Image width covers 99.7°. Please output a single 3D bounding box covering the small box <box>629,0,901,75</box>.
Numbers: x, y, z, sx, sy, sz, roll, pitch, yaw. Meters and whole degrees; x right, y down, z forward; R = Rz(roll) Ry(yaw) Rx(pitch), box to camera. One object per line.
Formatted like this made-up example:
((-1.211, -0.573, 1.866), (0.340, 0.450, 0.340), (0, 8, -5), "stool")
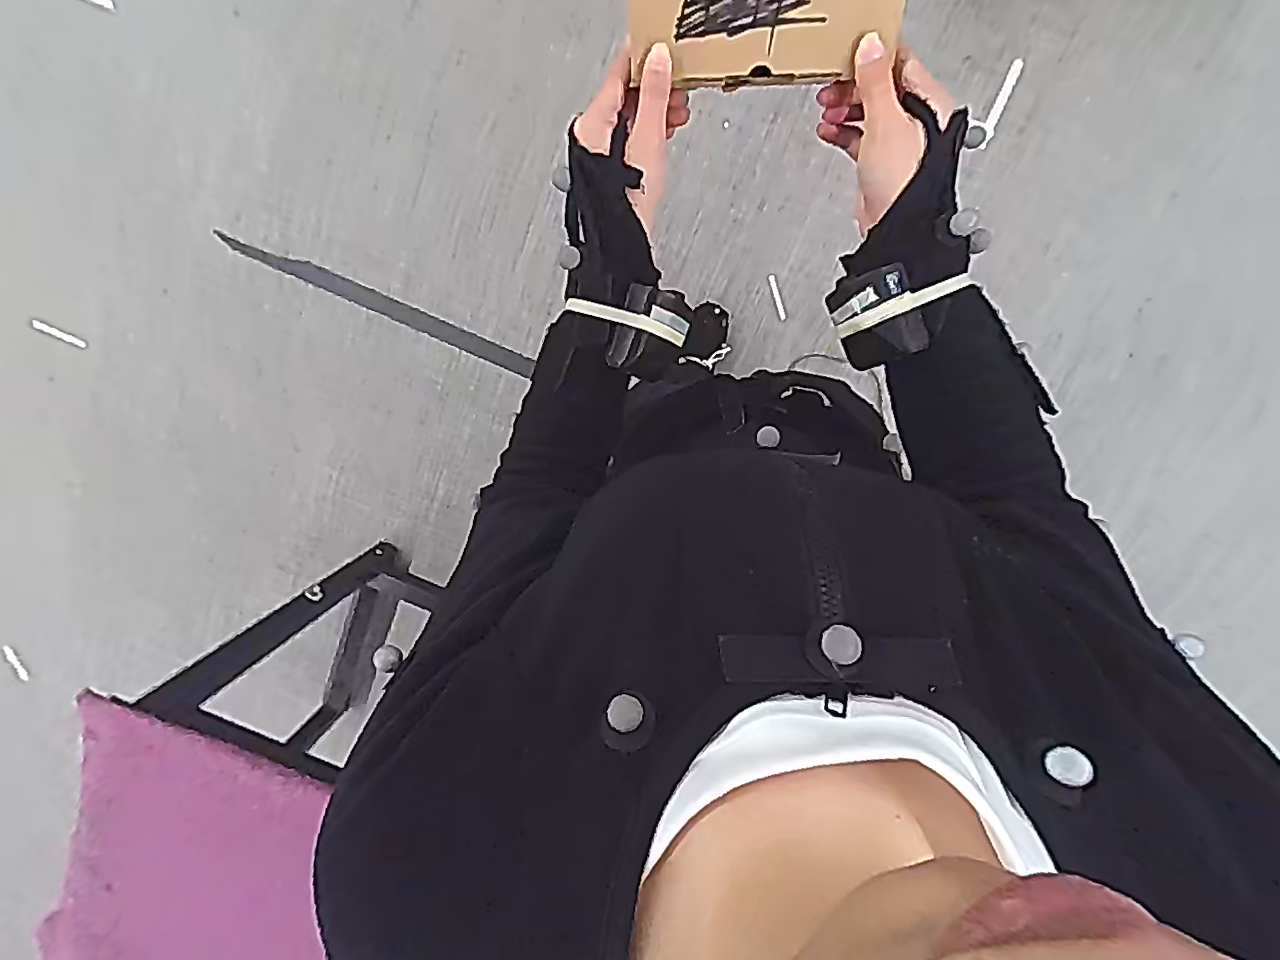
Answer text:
((0.080, -0.380, 0.359), (0.168, 0.176, 0.179), (1, 124, 4), "small box")
